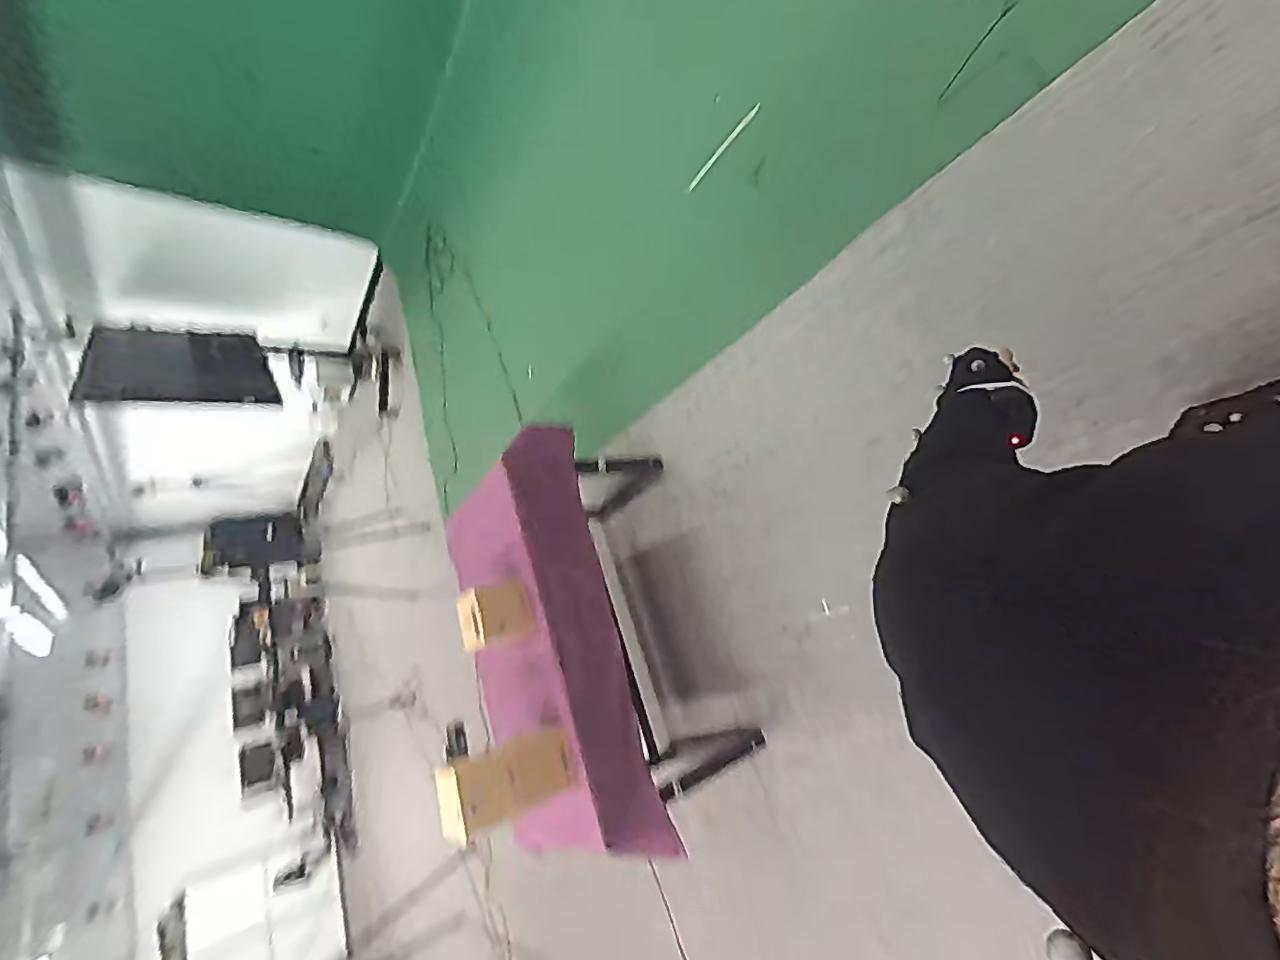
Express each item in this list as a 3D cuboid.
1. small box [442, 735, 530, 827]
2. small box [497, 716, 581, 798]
[{"bbox_3d":[-0.423,0.815,1.482,0.179,0.176,0.168,-31,71,48],"label":"small box"},{"bbox_3d":[-0.296,0.805,1.587,0.179,0.176,0.168,-30,71,47],"label":"small box"}]
